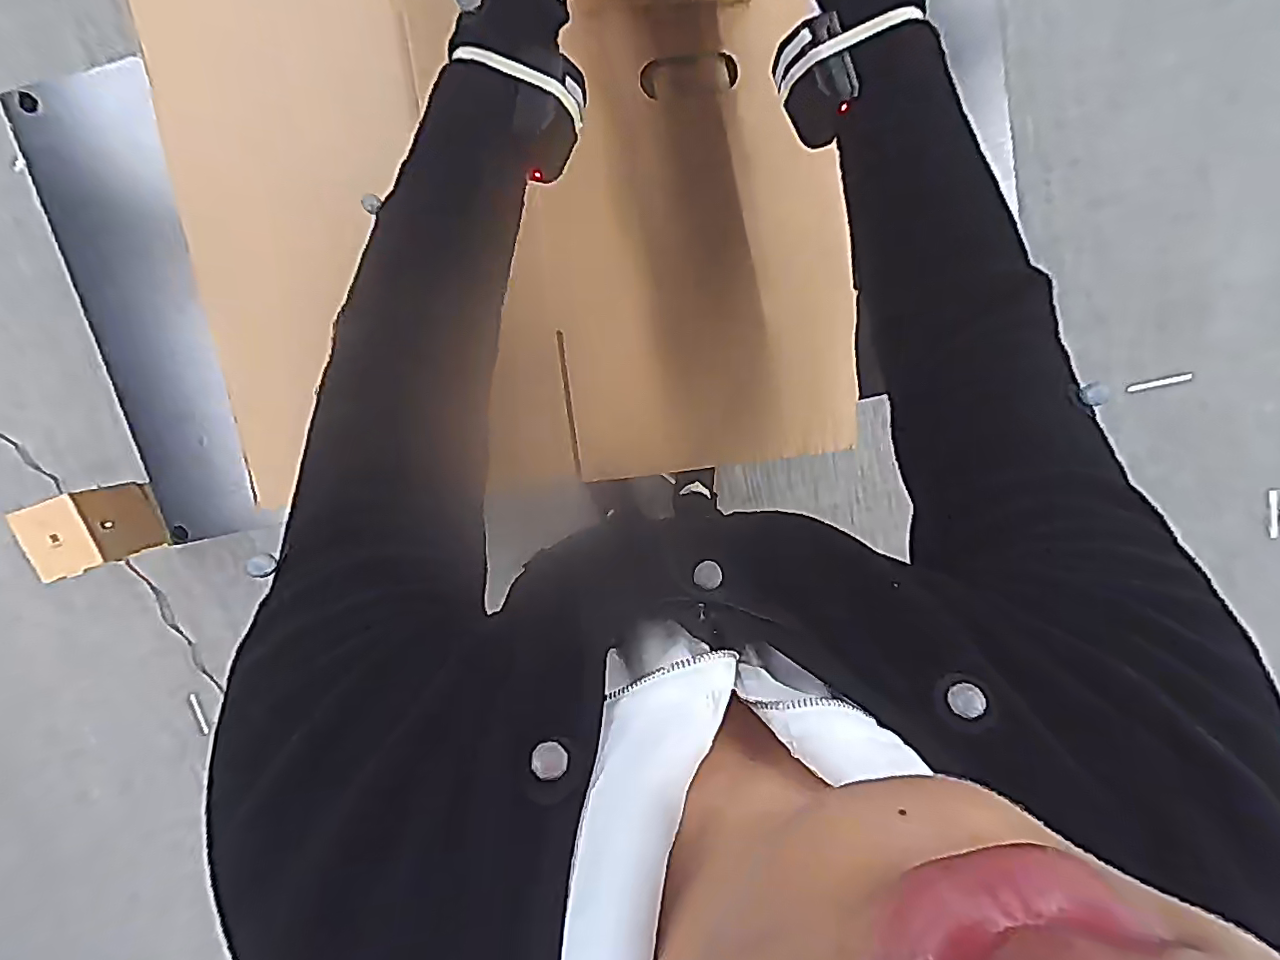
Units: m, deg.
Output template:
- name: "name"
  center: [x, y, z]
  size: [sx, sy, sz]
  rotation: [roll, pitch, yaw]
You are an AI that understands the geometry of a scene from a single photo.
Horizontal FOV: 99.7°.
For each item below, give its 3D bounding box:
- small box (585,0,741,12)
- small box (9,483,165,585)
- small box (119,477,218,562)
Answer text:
- name: "small box"
  center: [0.018, -0.496, 0.390]
  size: [0.168, 0.176, 0.179]
  rotation: [-5, 99, 0]
- name: "small box"
  center: [-1.315, 0.123, 1.302]
  size: [0.168, 0.176, 0.179]
  rotation: [-19, 98, 4]
- name: "small box"
  center: [-1.307, 0.098, 1.463]
  size: [0.168, 0.176, 0.179]
  rotation: [-16, 100, 5]
